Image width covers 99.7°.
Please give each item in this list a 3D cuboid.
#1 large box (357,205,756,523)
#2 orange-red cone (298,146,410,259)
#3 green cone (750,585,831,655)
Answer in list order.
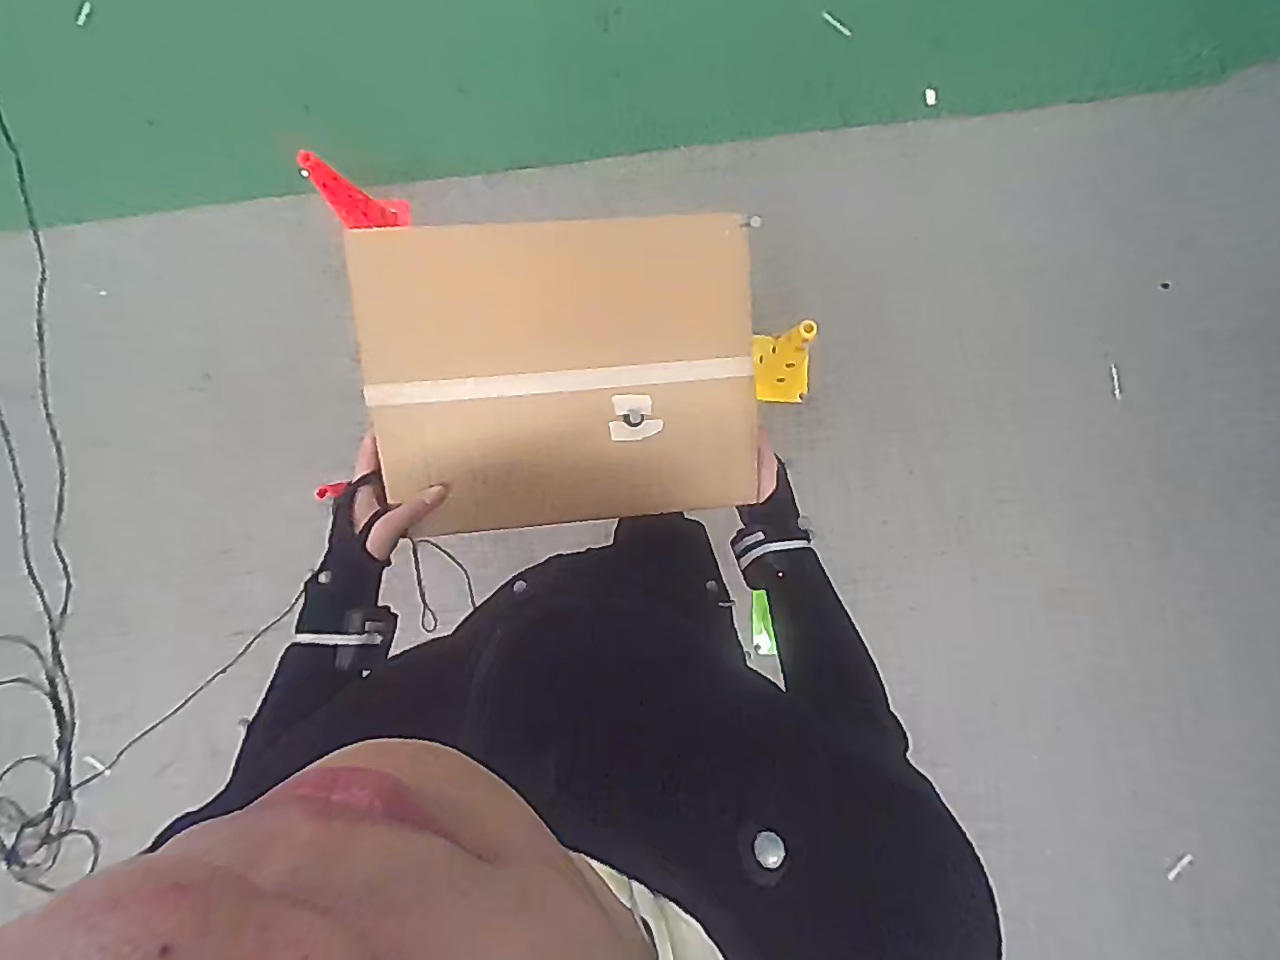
[{"bbox_3d":[-0.093,-0.148,0.724,0.408,0.320,0.320,-5,102,-7],"label":"large box"},{"bbox_3d":[-0.819,-0.788,1.499,0.199,0.360,0.198,1,86,2],"label":"orange-red cone"},{"bbox_3d":[0.426,0.401,1.423,0.200,0.368,0.202,0,86,0],"label":"green cone"}]
